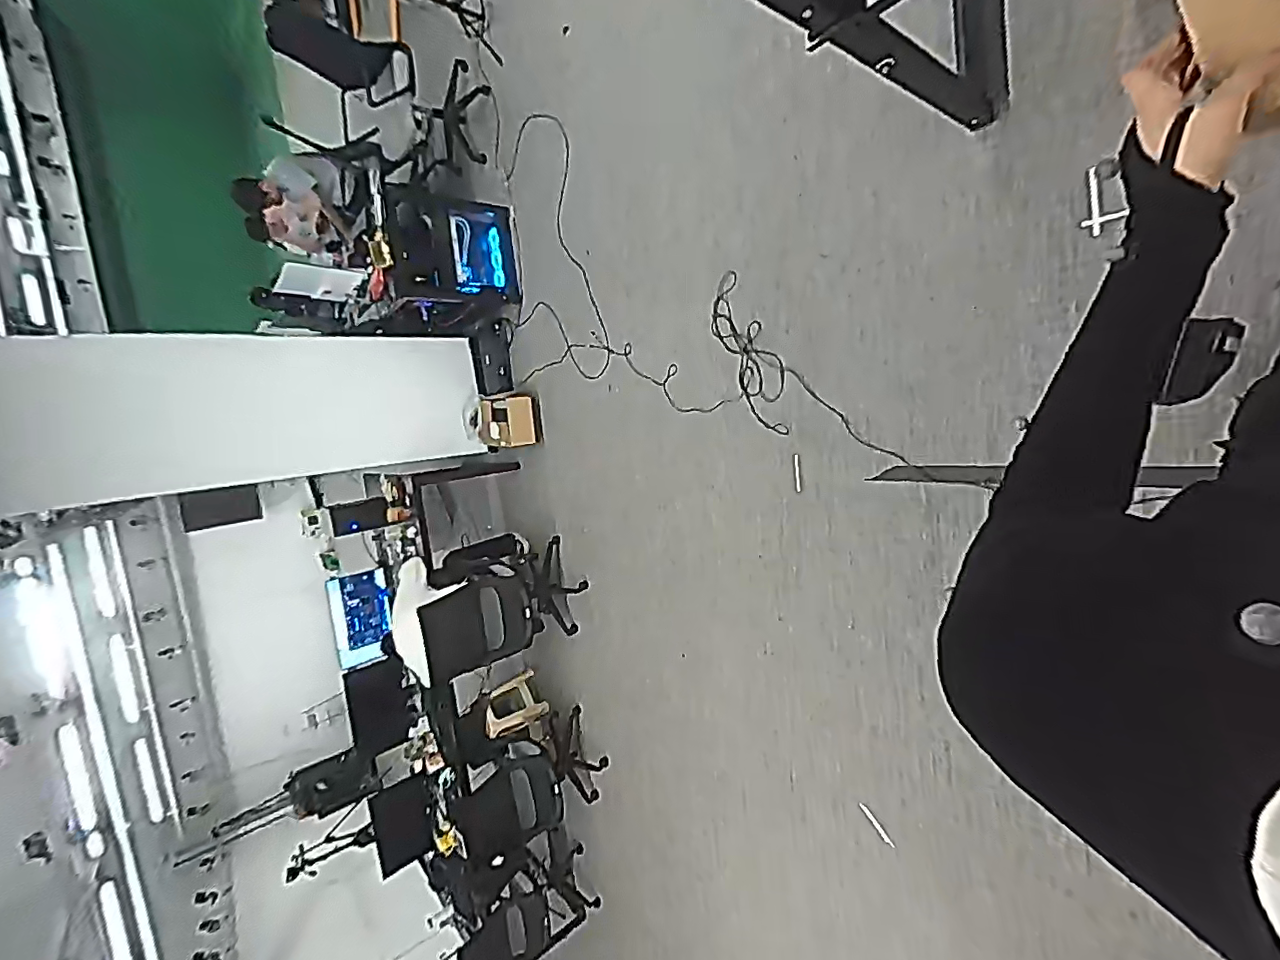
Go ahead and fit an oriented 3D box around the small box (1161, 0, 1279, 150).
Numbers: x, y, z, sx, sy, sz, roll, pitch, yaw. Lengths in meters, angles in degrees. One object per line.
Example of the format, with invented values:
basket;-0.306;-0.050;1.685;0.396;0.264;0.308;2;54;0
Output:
small box;0.498;-0.357;0.366;0.179;0.176;0.168;-15;94;58
